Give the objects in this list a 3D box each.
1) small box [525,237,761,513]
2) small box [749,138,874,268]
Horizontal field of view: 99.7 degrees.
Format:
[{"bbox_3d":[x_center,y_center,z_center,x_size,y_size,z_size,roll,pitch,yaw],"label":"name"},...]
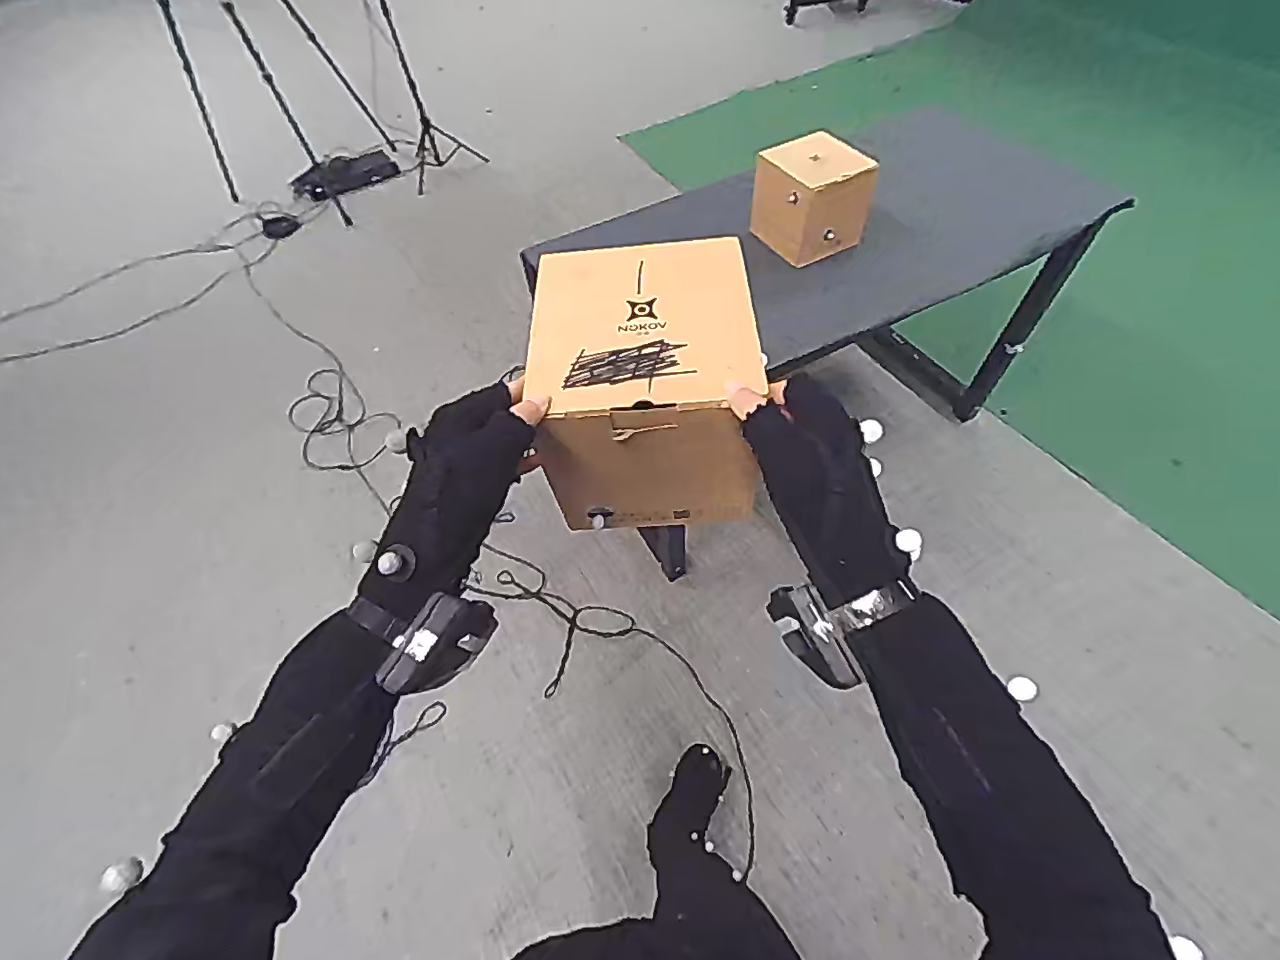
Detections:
[{"bbox_3d":[0.009,-0.080,0.474,0.168,0.176,0.179,-4,57,4],"label":"small box"},{"bbox_3d":[0.347,-0.578,1.135,0.168,0.176,0.179,-26,58,-13],"label":"small box"}]
